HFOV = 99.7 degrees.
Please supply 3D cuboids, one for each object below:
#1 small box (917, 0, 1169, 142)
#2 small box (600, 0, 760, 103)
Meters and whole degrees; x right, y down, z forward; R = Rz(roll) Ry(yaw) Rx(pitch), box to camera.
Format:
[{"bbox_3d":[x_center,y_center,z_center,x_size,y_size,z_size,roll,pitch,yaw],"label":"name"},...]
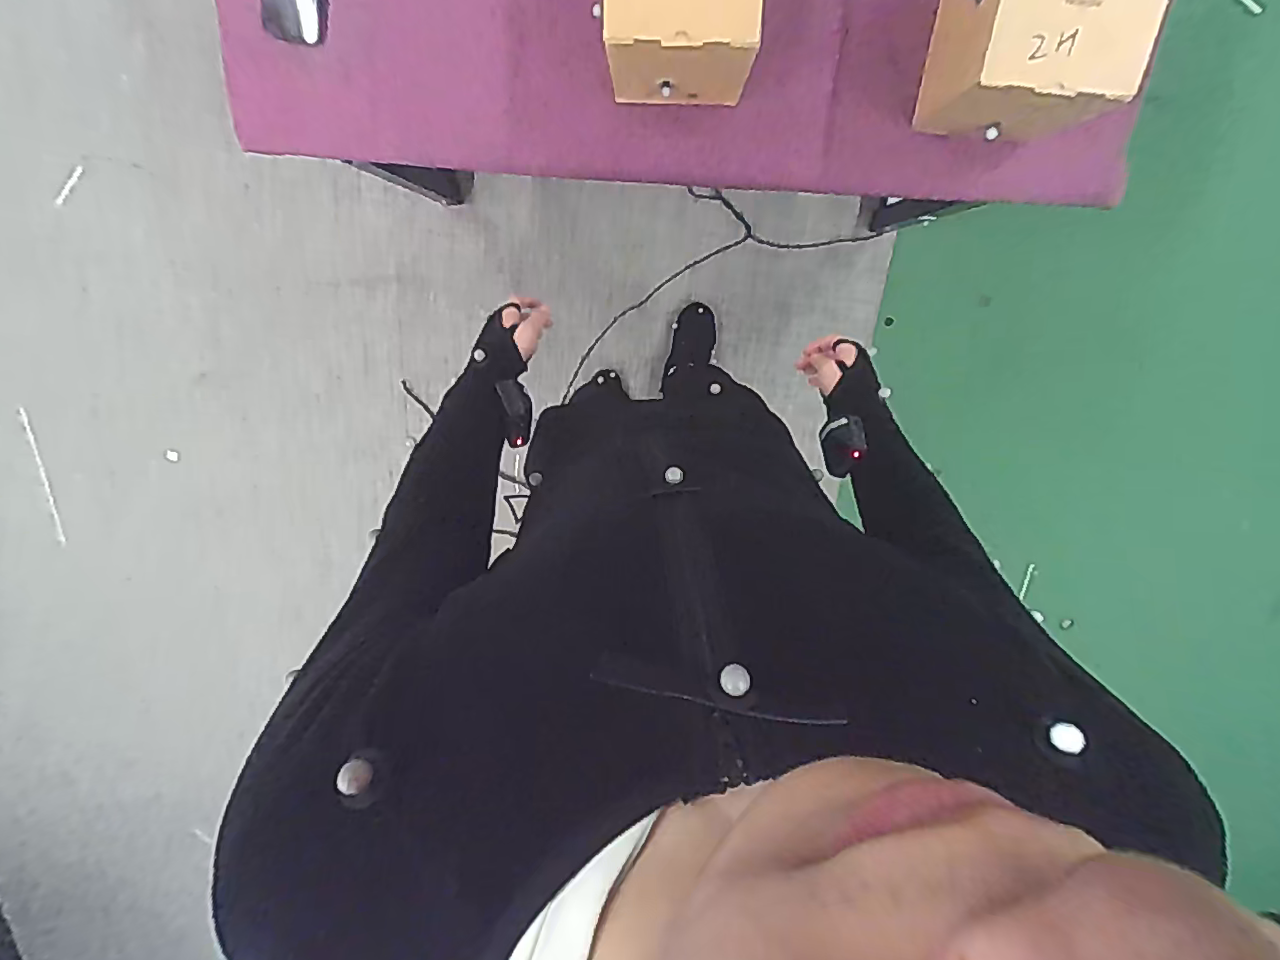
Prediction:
[{"bbox_3d":[0.441,-0.509,0.605,0.168,0.176,0.179,7,108,1],"label":"small box"},{"bbox_3d":[0.044,-0.558,0.608,0.168,0.176,0.179,2,108,1],"label":"small box"}]
